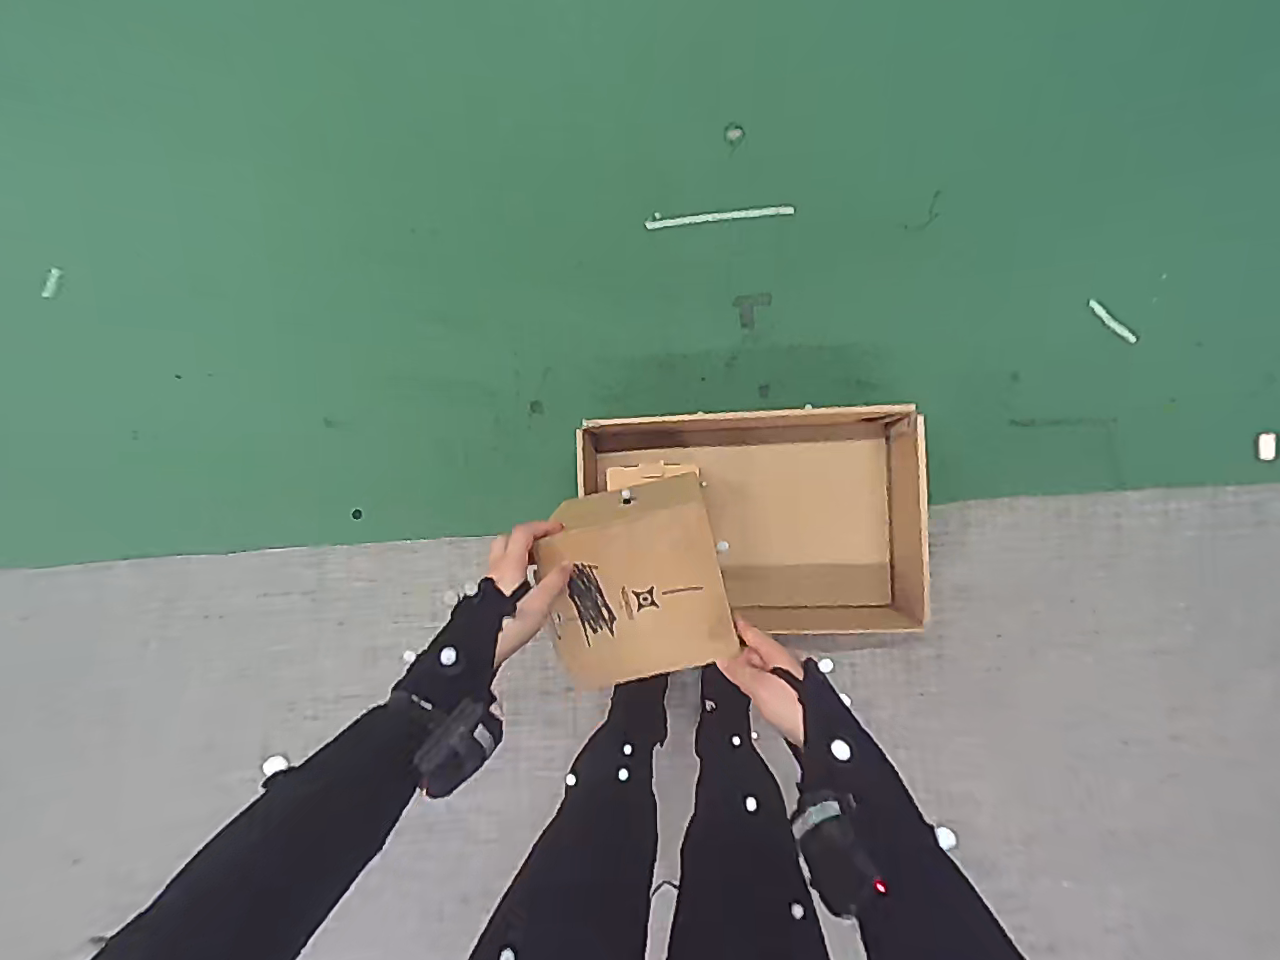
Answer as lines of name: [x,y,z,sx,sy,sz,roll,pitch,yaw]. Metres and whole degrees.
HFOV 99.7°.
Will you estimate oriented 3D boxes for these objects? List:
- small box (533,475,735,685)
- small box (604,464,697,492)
small box: [-0.001,0.102,0.615,0.179,0.176,0.168,-13,101,4]
small box: [0.028,0.060,1.031,0.168,0.176,0.179,-3,90,5]
